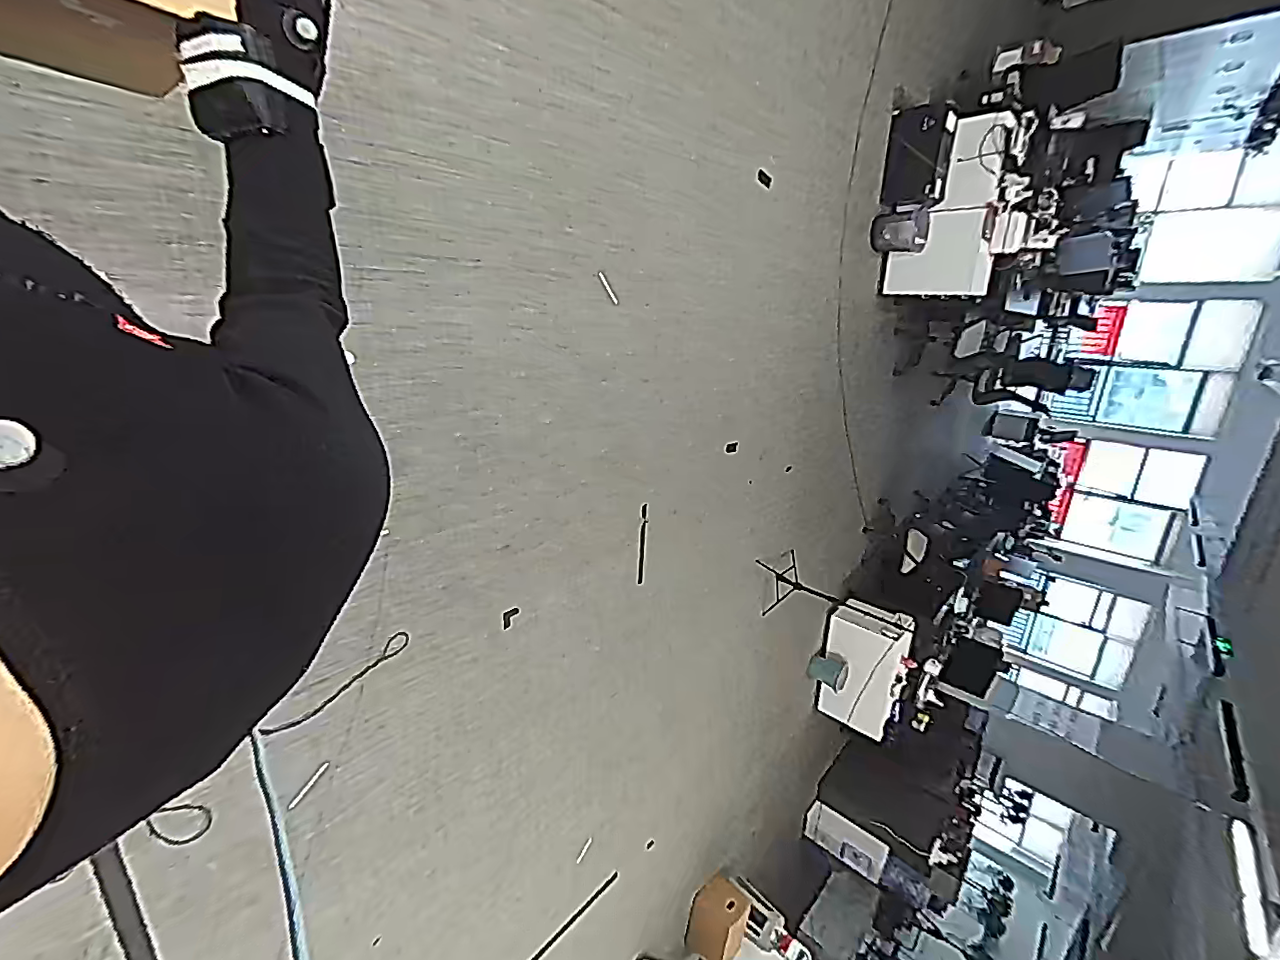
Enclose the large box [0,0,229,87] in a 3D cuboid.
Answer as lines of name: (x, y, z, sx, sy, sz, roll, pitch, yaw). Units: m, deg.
large box: (-0.520, -0.477, 0.288, 0.408, 0.320, 0.320, -13, 118, -47)
